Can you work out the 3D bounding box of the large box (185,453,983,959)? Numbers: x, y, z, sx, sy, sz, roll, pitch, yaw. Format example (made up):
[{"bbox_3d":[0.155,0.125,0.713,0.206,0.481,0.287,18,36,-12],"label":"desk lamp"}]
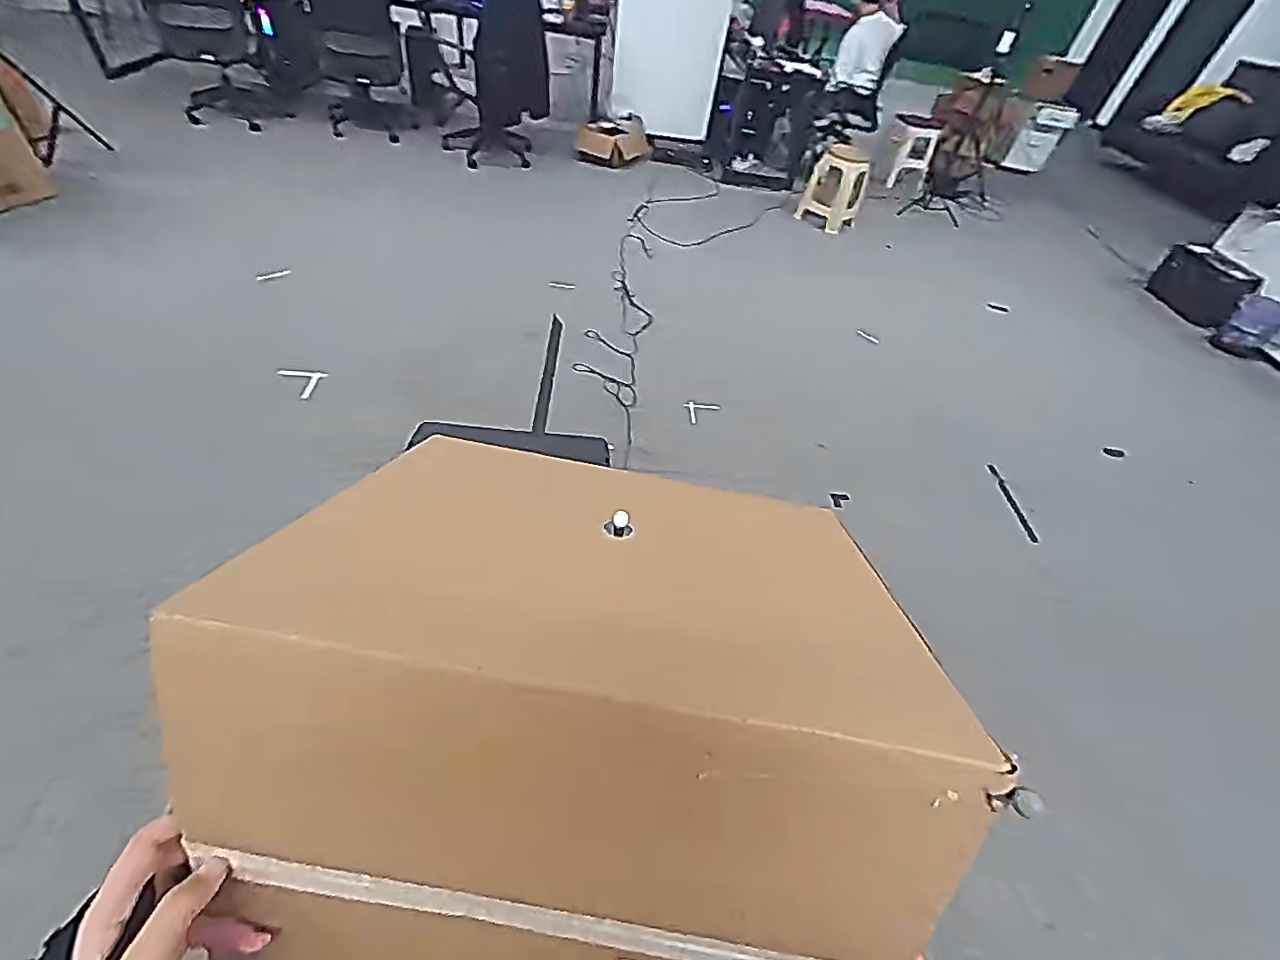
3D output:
[{"bbox_3d":[-0.043,0.189,0.452,0.408,0.320,0.320,10,21,0],"label":"large box"}]
